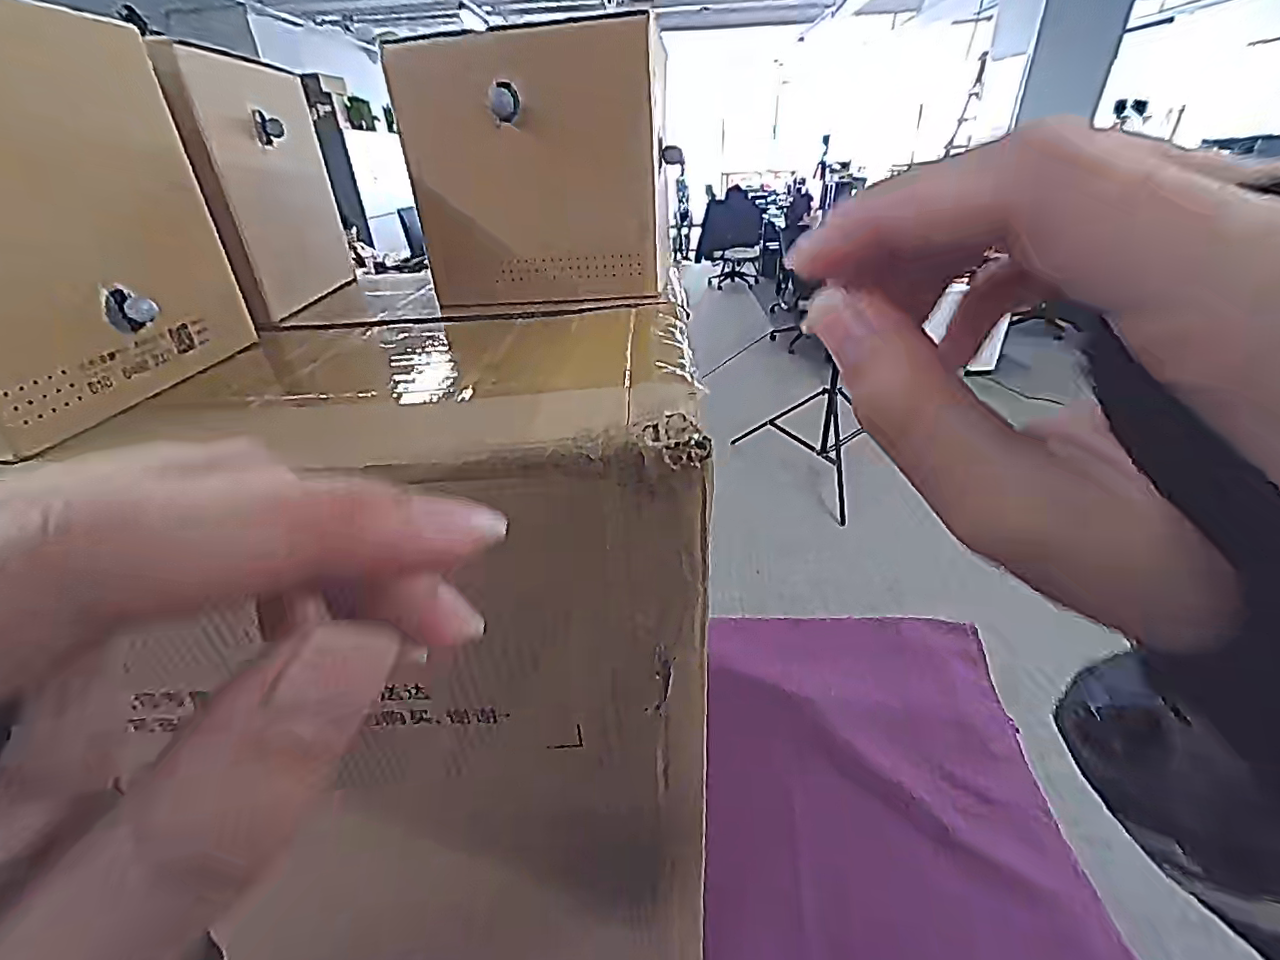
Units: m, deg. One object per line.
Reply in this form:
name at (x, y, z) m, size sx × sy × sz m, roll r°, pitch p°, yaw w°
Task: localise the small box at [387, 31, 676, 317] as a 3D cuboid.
small box at (-0.062, -0.238, 0.440) m, size 0.179 × 0.176 × 0.168 m, roll 0°, pitch 31°, yaw 7°
